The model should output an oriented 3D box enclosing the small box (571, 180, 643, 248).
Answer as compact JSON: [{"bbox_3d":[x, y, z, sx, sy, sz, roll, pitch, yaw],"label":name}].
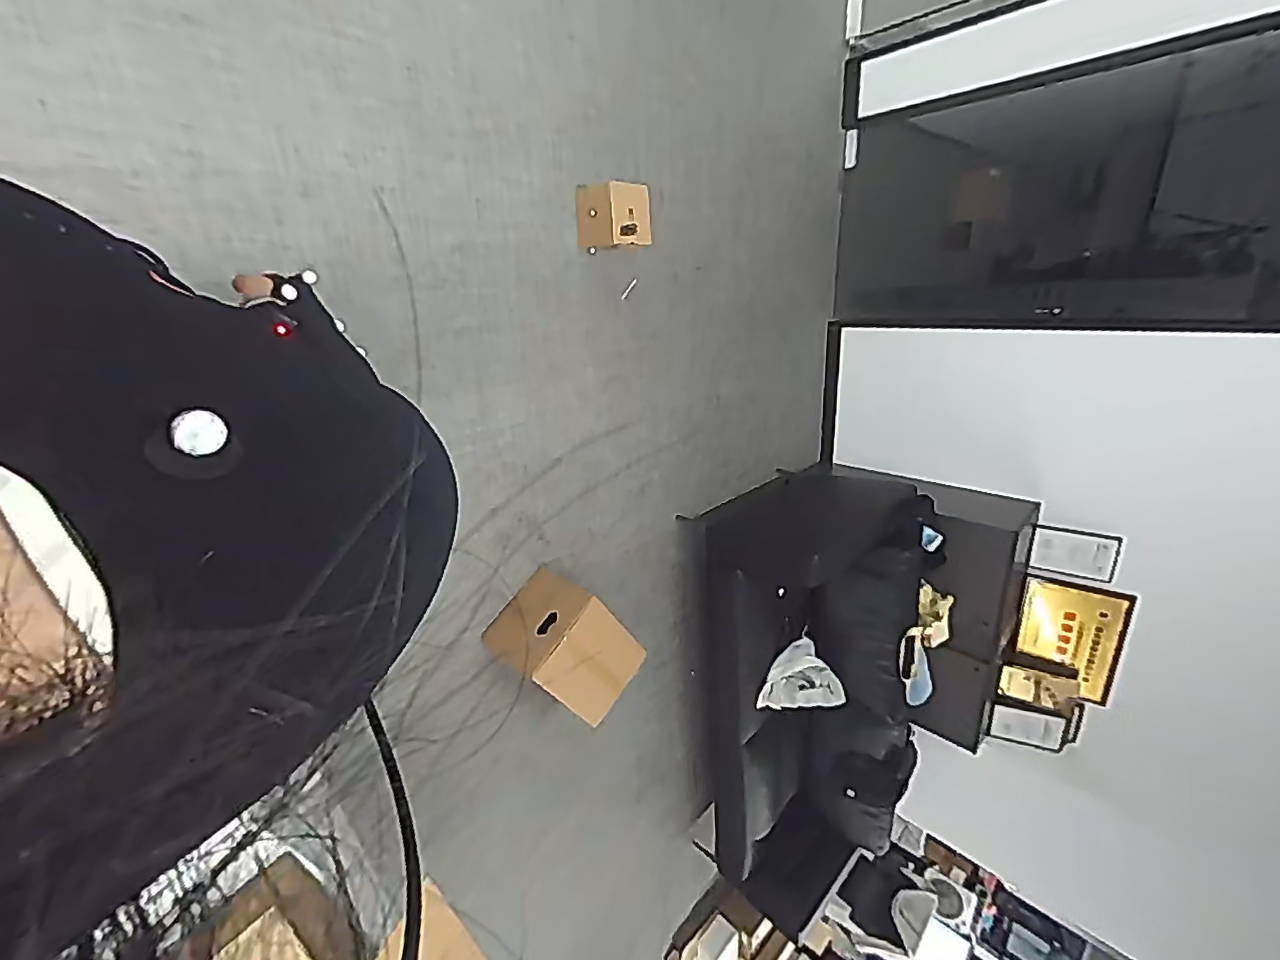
[{"bbox_3d":[-0.107,-0.849,1.740,0.168,0.176,0.179,-20,116,-41],"label":"small box"}]
